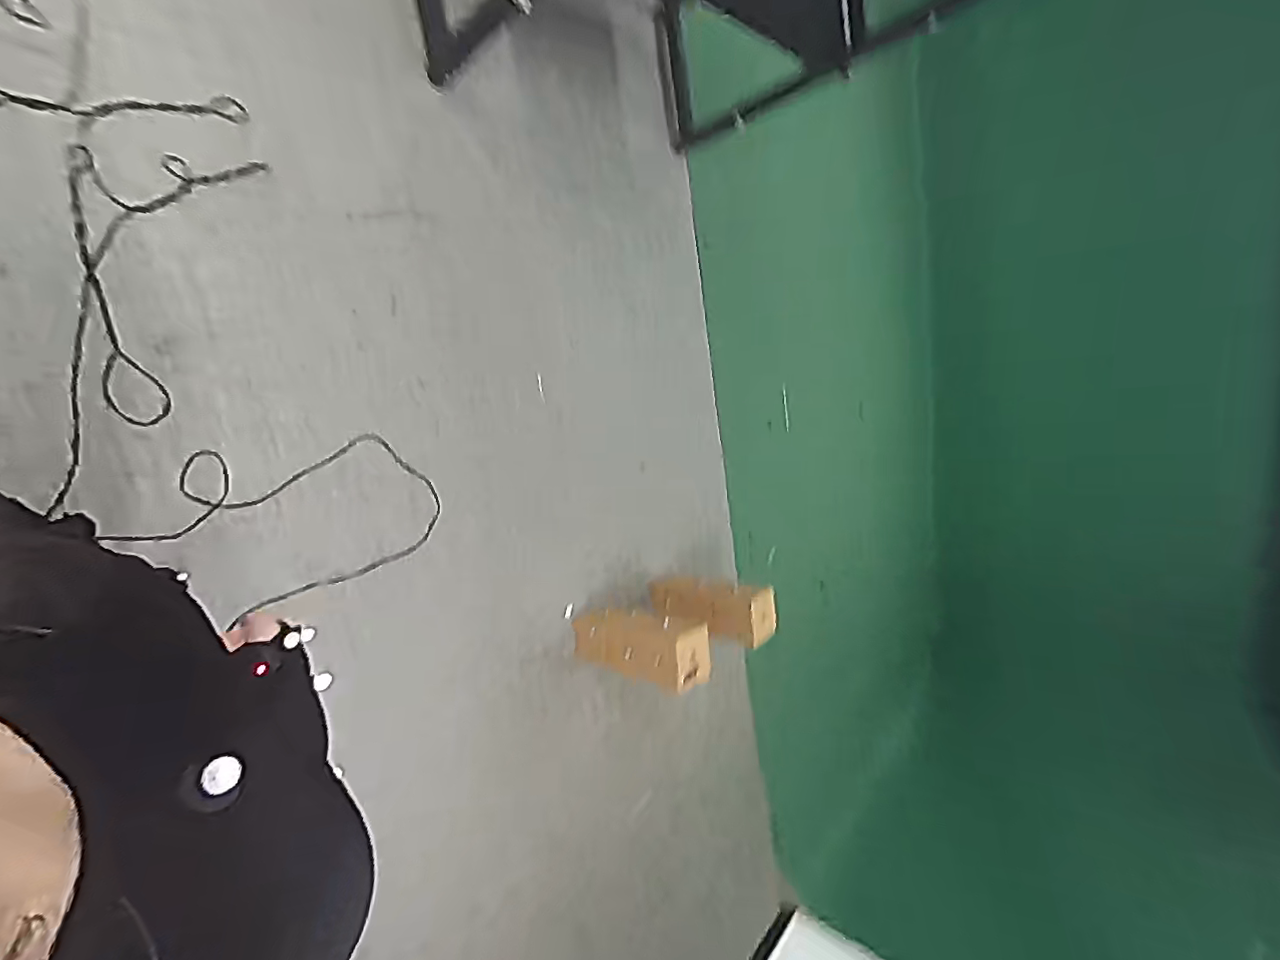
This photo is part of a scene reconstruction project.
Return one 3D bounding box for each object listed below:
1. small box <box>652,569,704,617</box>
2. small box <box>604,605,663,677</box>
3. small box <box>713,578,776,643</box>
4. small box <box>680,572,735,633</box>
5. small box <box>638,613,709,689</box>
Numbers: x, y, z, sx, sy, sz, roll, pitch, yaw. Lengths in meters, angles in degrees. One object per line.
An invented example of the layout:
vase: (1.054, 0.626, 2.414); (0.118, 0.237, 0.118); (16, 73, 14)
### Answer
small box: (0.165, 0.483, 2.292); (0.168, 0.176, 0.179); (-14, 101, -45)
small box: (-0.009, 0.554, 1.881); (0.168, 0.176, 0.179); (-9, 97, -45)
small box: (0.397, 0.489, 2.061); (0.168, 0.176, 0.179); (-19, 105, -46)
small box: (0.280, 0.487, 2.177); (0.168, 0.176, 0.179); (-19, 104, -45)
small box: (0.108, 0.550, 1.766); (0.168, 0.176, 0.179); (-6, 95, -46)
